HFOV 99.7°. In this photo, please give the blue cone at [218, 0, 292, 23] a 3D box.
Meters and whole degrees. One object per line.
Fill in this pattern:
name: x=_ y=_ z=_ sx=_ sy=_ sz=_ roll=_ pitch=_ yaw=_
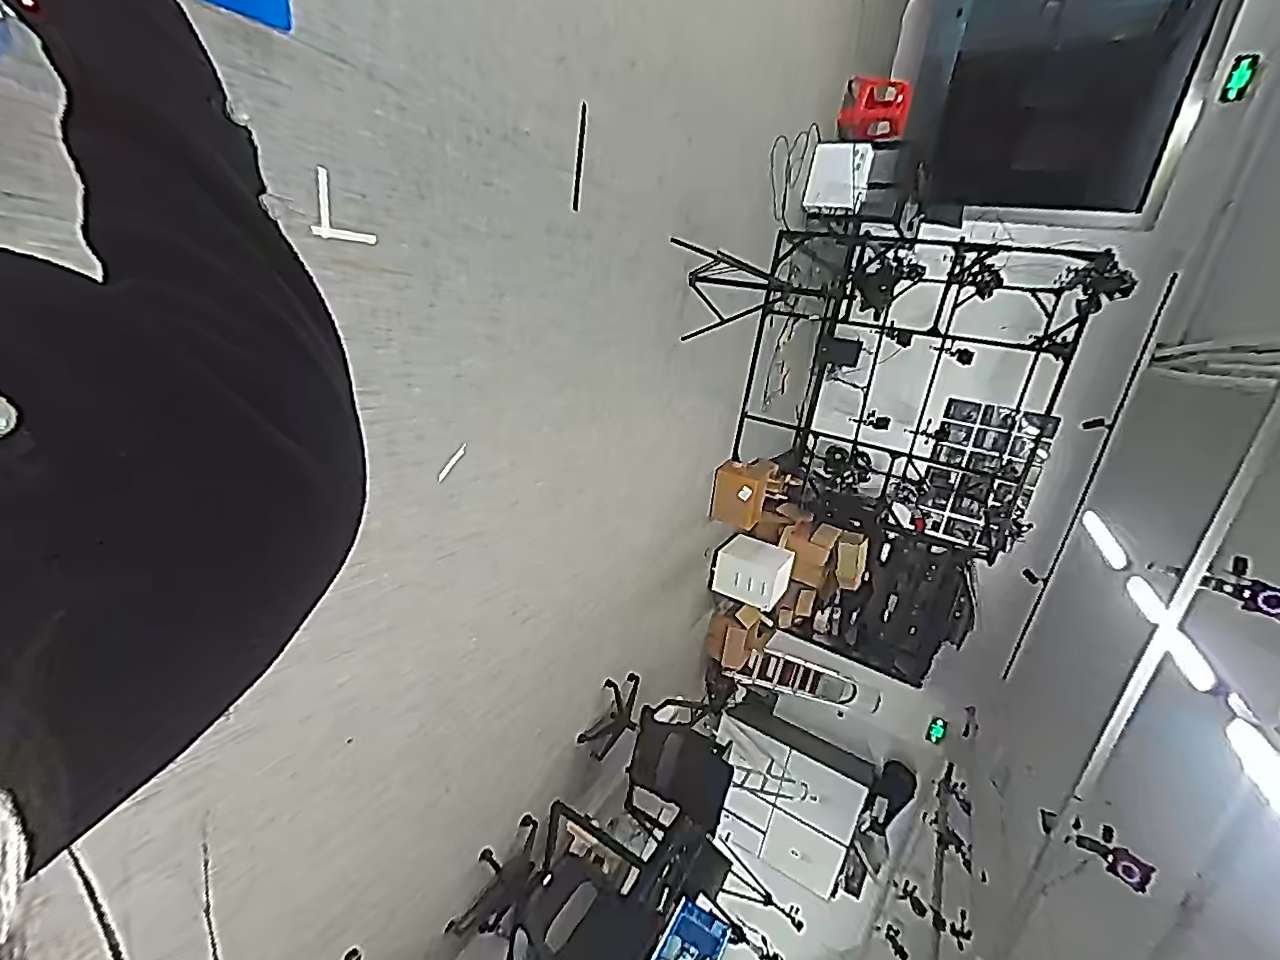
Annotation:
blue cone: x=-0.659 y=-1.006 z=1.003 sx=0.193 sy=0.380 sz=0.192 roll=-26 pitch=128 yaw=-55
